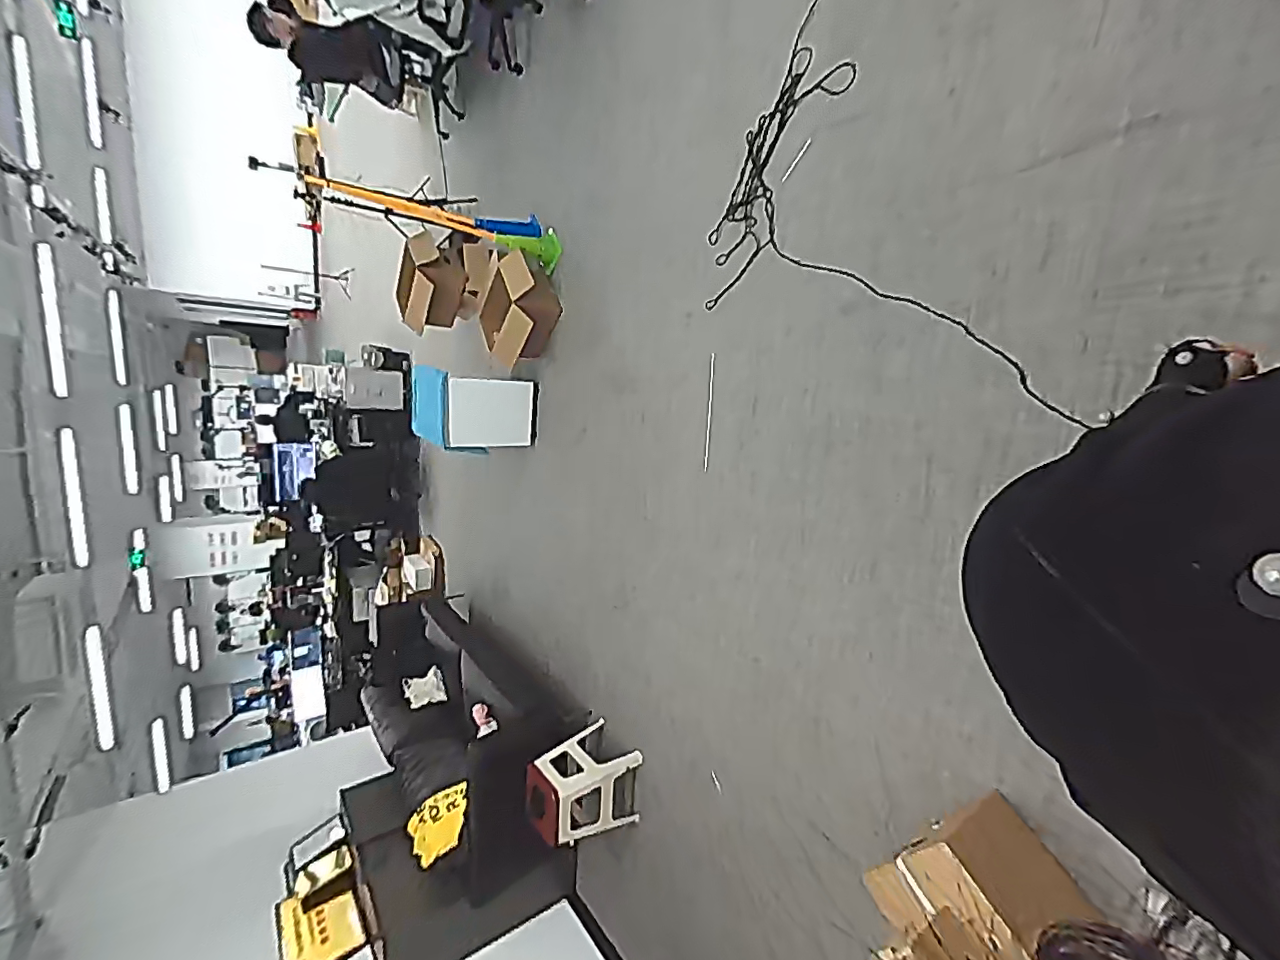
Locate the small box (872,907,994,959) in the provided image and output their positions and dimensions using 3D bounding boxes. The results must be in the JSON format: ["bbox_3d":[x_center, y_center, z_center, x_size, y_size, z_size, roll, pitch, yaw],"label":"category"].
[{"bbox_3d":[0.659,1.080,1.182,0.179,0.176,0.168,53,134,36],"label":"small box"}]

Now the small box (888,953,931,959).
[{"bbox_3d":[0.538,1.085,1.069,0.179,0.176,0.168,55,134,32],"label":"small box"}]
